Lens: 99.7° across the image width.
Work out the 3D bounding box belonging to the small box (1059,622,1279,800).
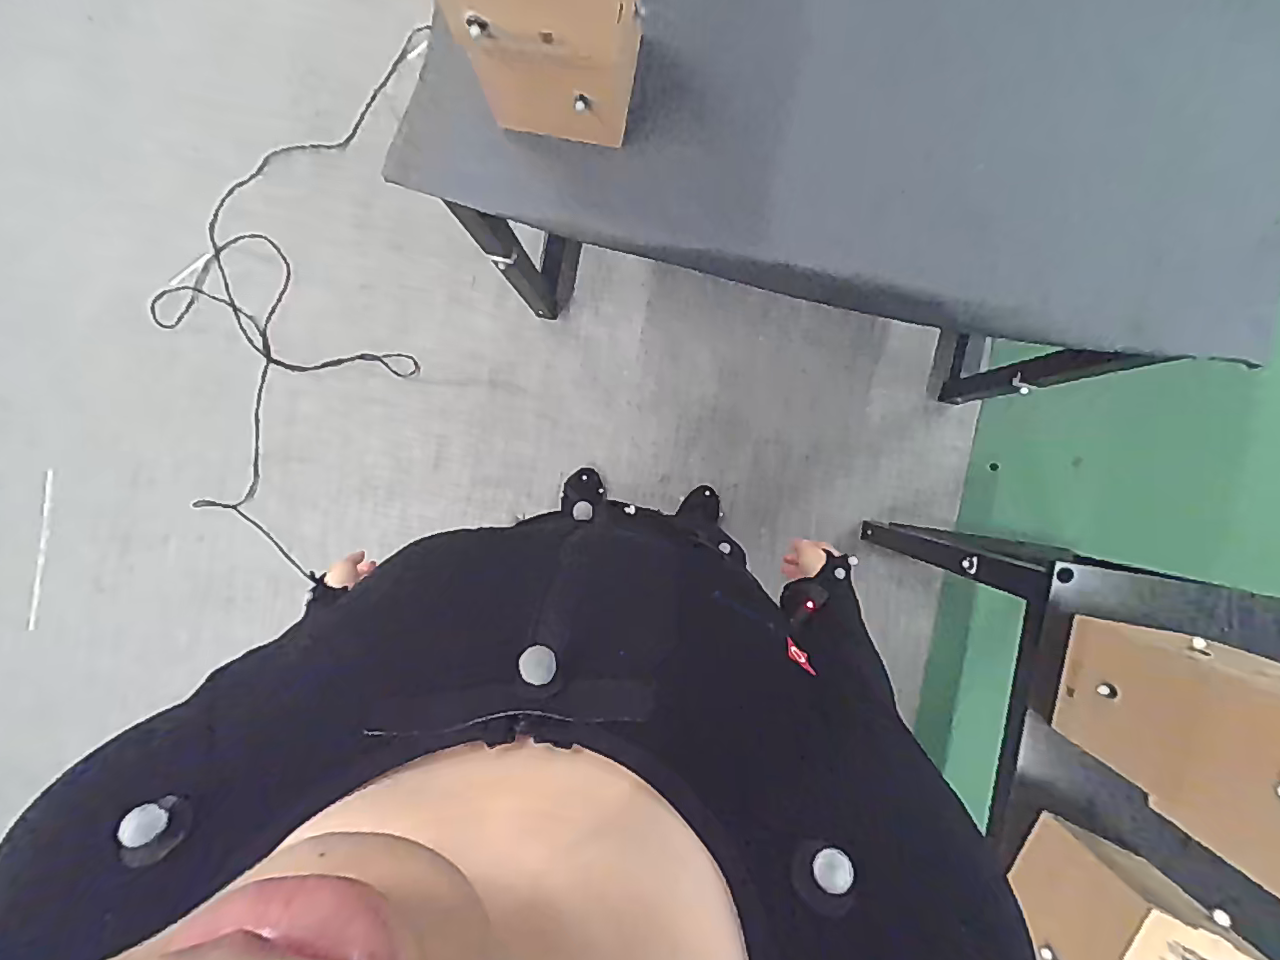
[{"bbox_3d":[0.670,0.286,0.665,0.179,0.176,0.168,10,93,1],"label":"small box"}]

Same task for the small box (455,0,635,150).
[{"bbox_3d":[-0.104,-0.546,0.673,0.179,0.176,0.168,10,90,2],"label":"small box"}]

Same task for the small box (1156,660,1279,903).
[{"bbox_3d":[0.647,0.294,0.504,0.168,0.176,0.179,10,92,2],"label":"small box"}]
